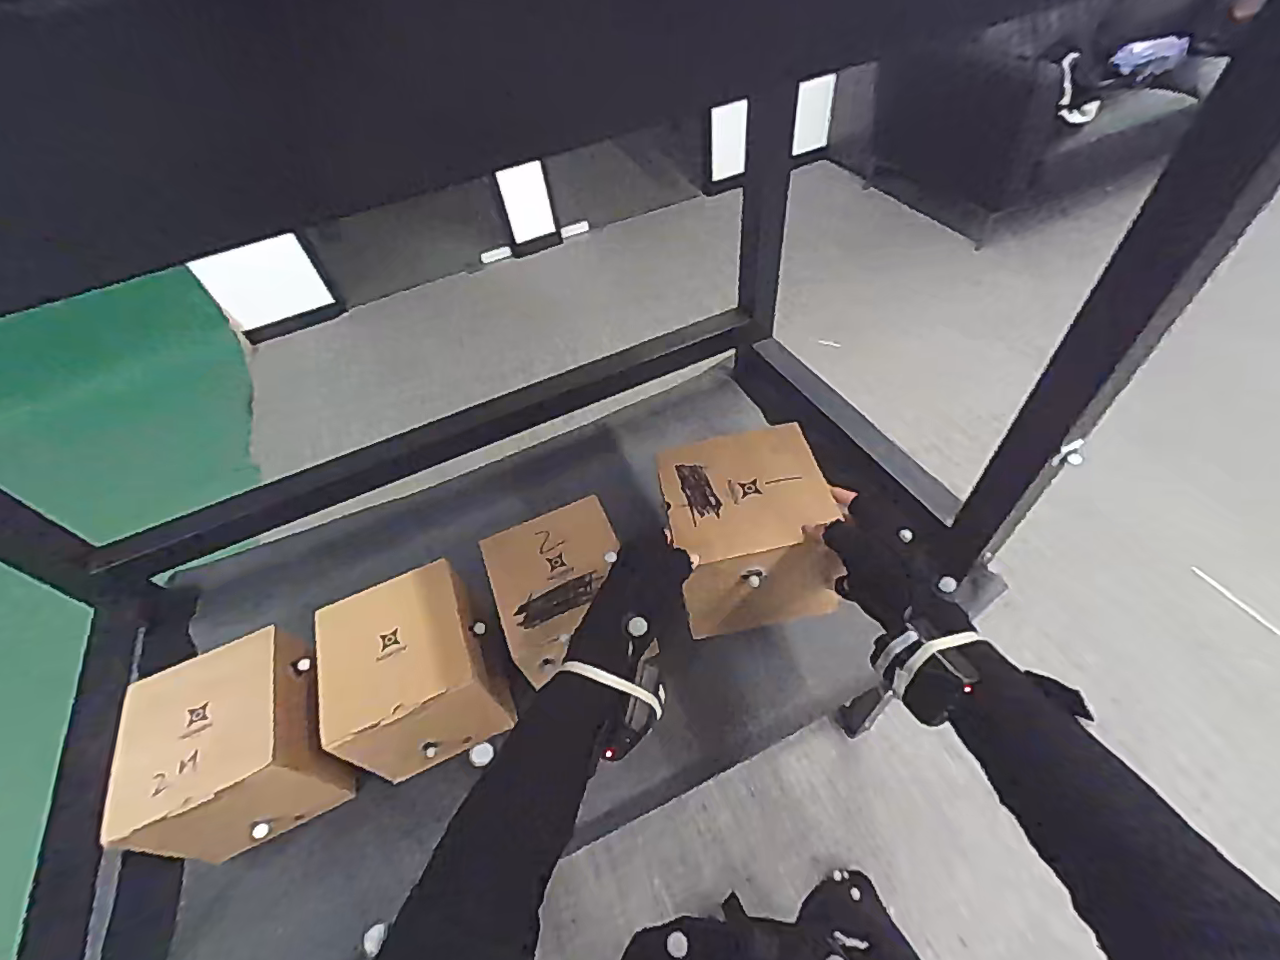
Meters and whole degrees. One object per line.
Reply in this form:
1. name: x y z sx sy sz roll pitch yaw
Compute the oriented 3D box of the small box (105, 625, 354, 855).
1. small box: -0.470 0.314 0.652 0.168 0.176 0.179 -22 51 -11
